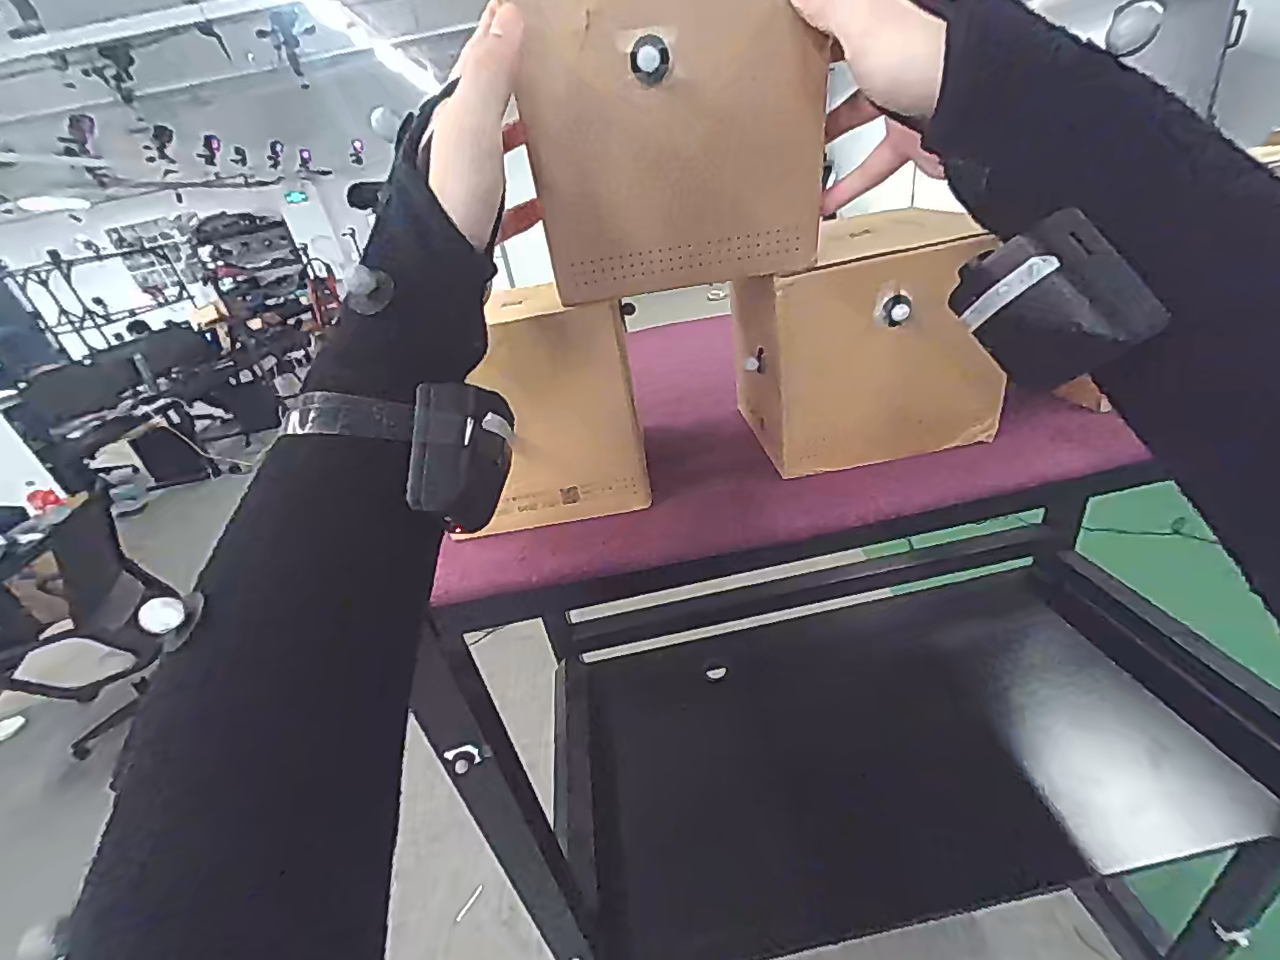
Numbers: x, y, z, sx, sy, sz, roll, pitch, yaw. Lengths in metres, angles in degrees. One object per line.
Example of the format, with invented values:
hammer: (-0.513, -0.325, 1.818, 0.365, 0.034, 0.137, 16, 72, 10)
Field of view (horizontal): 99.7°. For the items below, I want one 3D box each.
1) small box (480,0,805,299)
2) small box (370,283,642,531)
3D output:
small box: (0.010, -0.238, 0.380, 0.179, 0.176, 0.168, -8, 35, 1)
small box: (-0.093, -0.067, 0.472, 0.168, 0.176, 0.179, -10, 27, 3)
